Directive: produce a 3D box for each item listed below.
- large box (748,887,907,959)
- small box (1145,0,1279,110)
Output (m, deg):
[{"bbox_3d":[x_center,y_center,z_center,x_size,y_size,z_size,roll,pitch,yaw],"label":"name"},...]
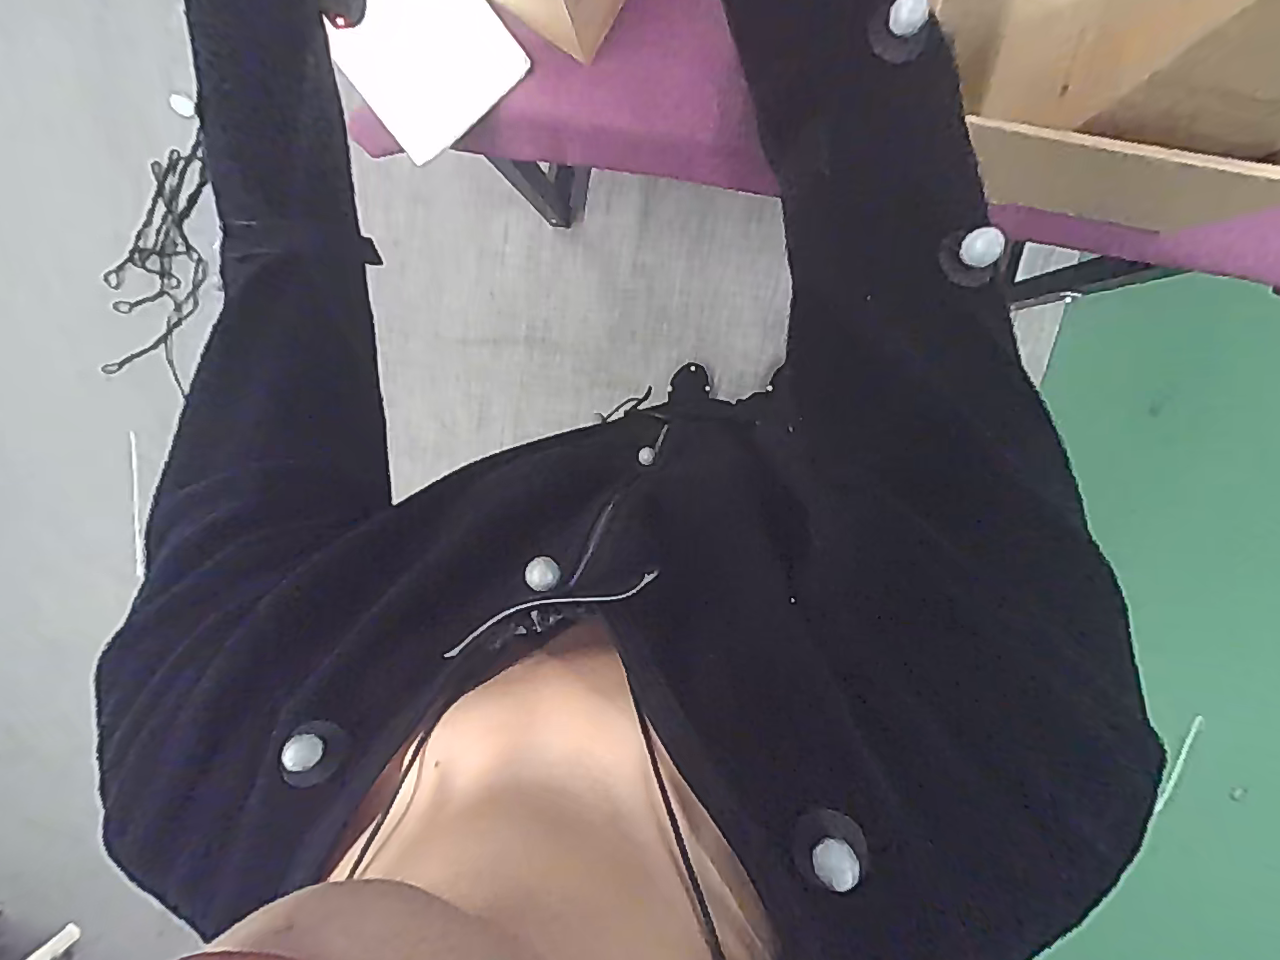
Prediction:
[{"bbox_3d":[0.538,1.439,1.557,0.408,0.320,0.320,-3,100,5],"label":"large box"},{"bbox_3d":[0.508,-0.372,0.350,0.179,0.176,0.168,15,101,6],"label":"small box"}]
